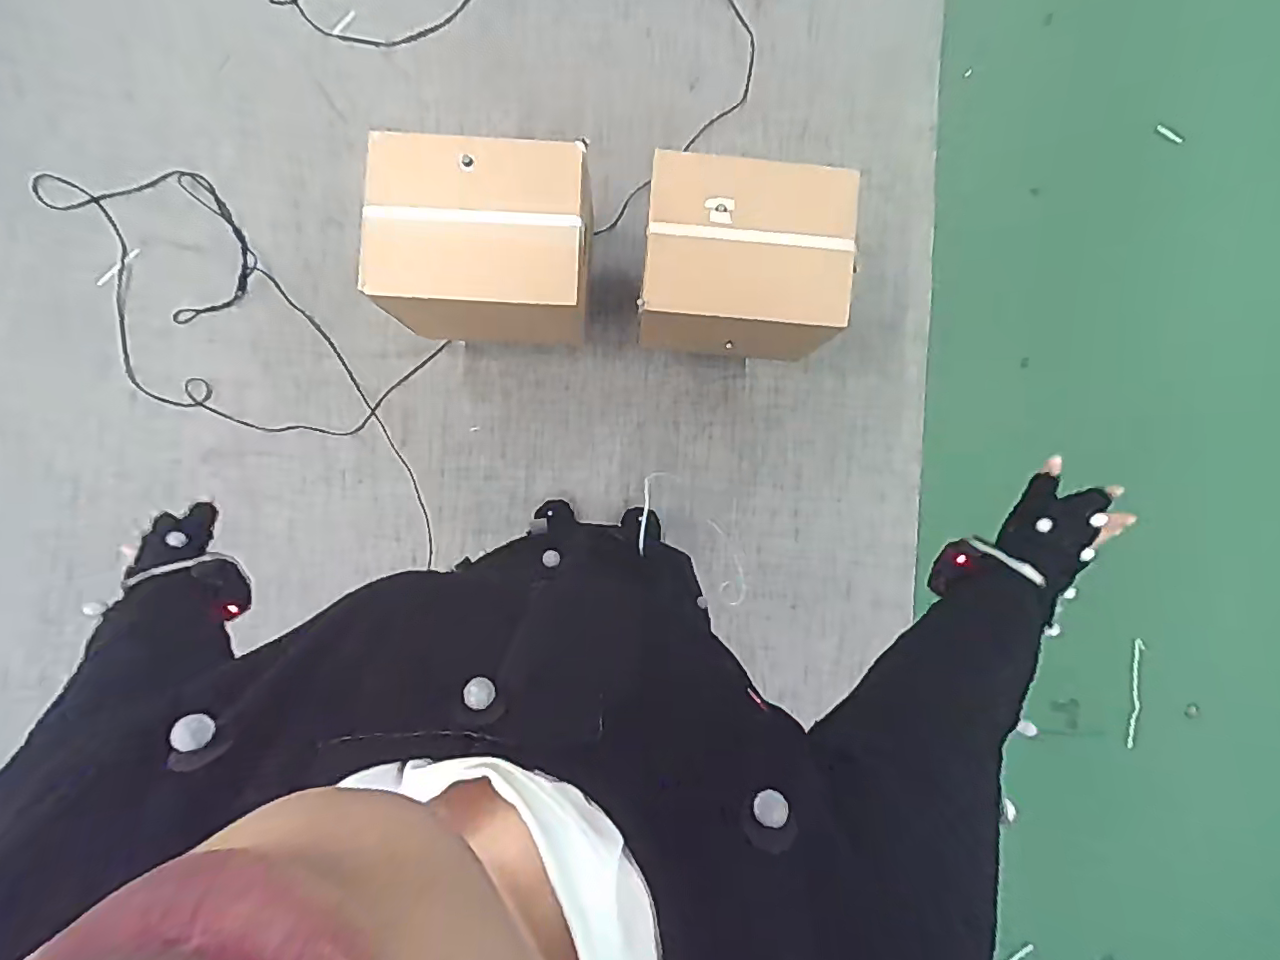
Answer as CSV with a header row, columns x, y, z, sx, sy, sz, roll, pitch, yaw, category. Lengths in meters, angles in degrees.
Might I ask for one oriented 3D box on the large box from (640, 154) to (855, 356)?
x,y,z,sx,sy,sz,roll,pitch,yaw,category
0.214,-0.470,1.204,0.408,0.320,0.320,5,89,-2,large box
